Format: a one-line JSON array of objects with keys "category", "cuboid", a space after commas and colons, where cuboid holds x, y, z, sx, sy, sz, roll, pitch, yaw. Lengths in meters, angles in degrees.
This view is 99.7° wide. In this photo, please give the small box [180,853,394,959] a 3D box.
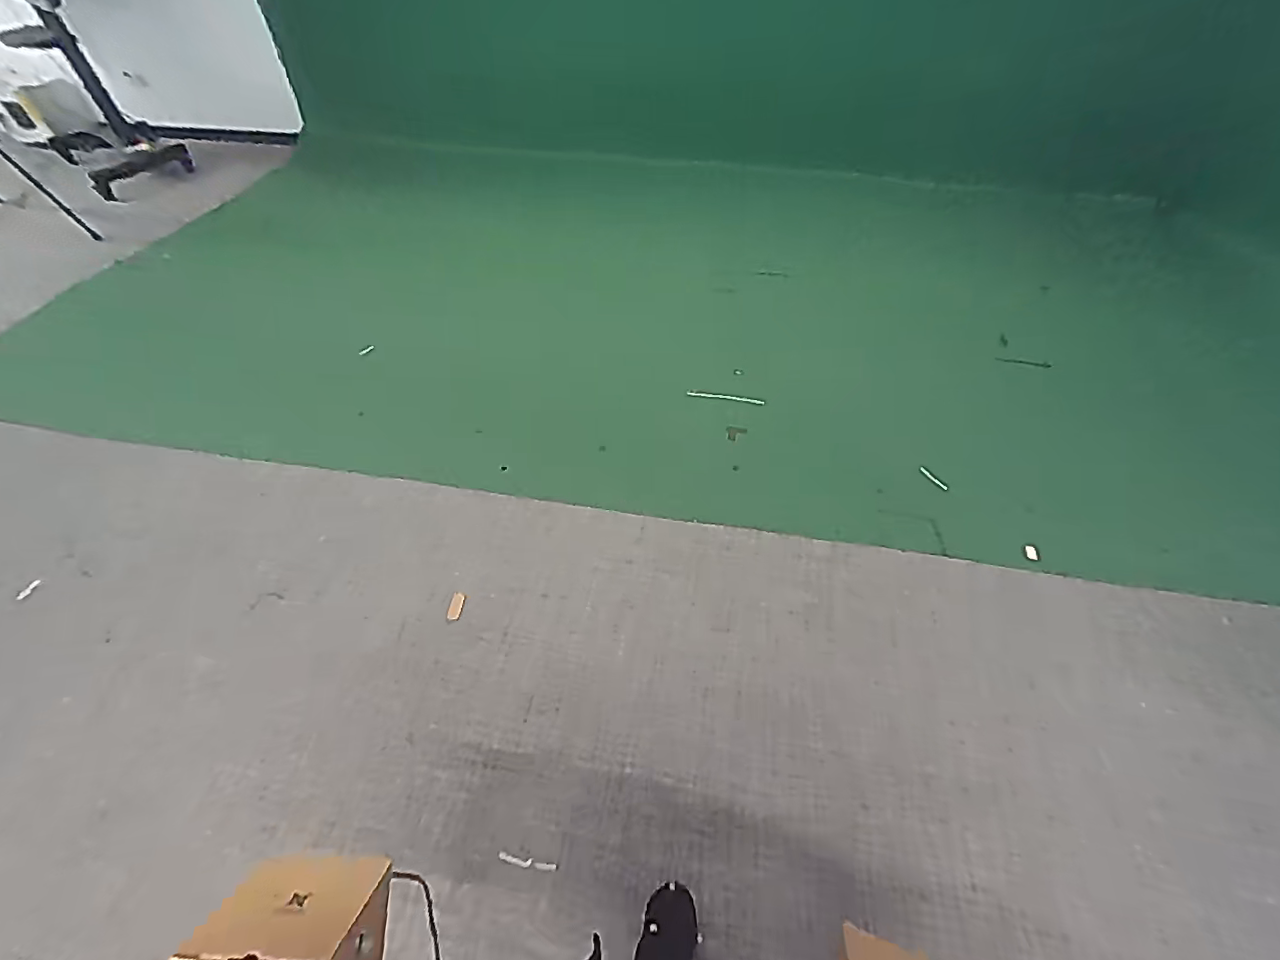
[{"category": "small box", "cuboid": [-0.422, 0.593, 0.654, 0.168, 0.179, 0.176, 4, 87, -4]}]
